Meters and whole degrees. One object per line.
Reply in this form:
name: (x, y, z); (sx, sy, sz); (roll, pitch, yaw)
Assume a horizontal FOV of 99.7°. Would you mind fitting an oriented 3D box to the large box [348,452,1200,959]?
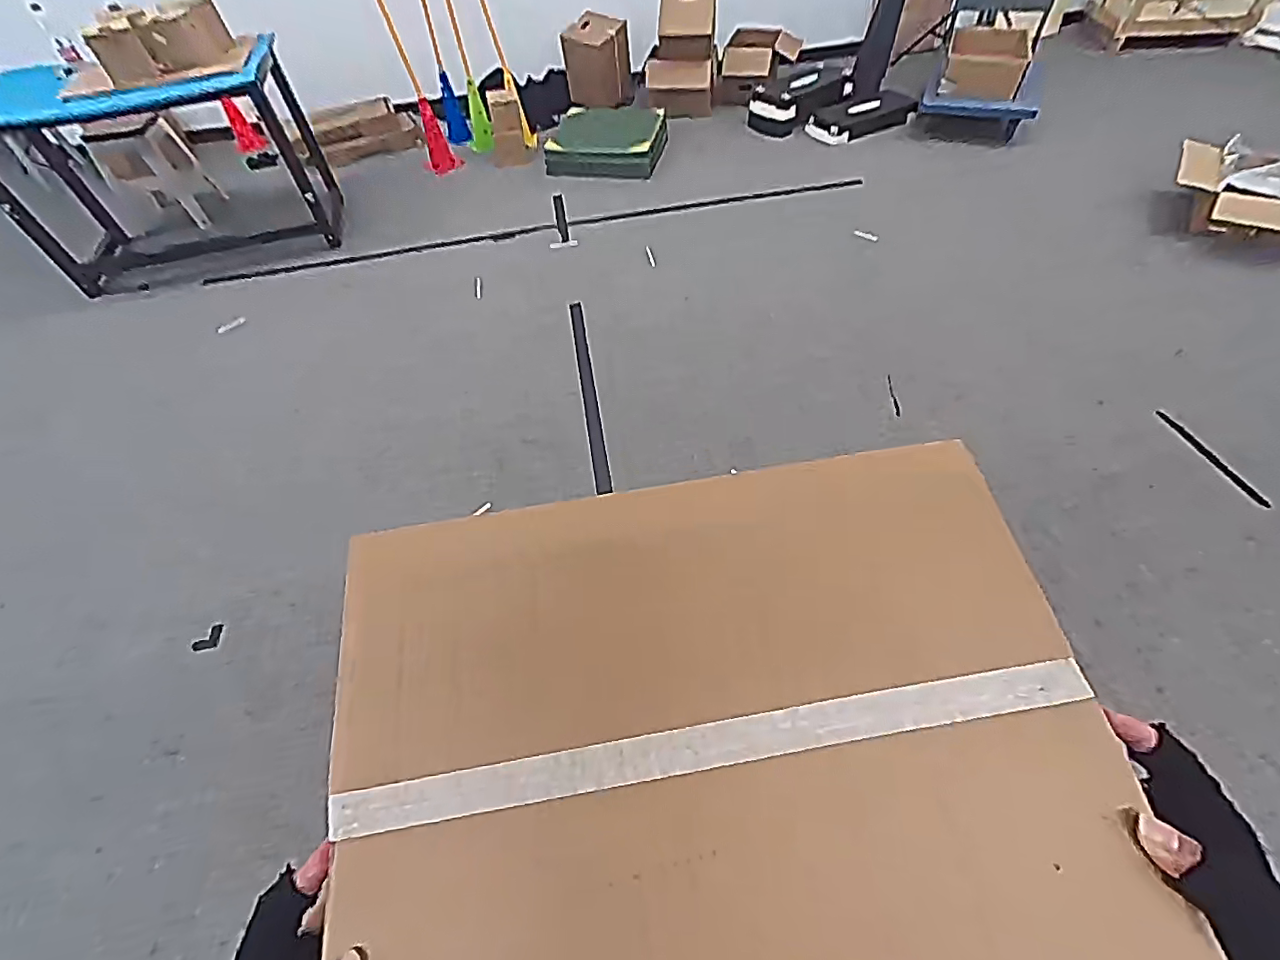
large box: (0.048, 0.214, 0.431); (0.408, 0.320, 0.320); (-9, 64, -2)
